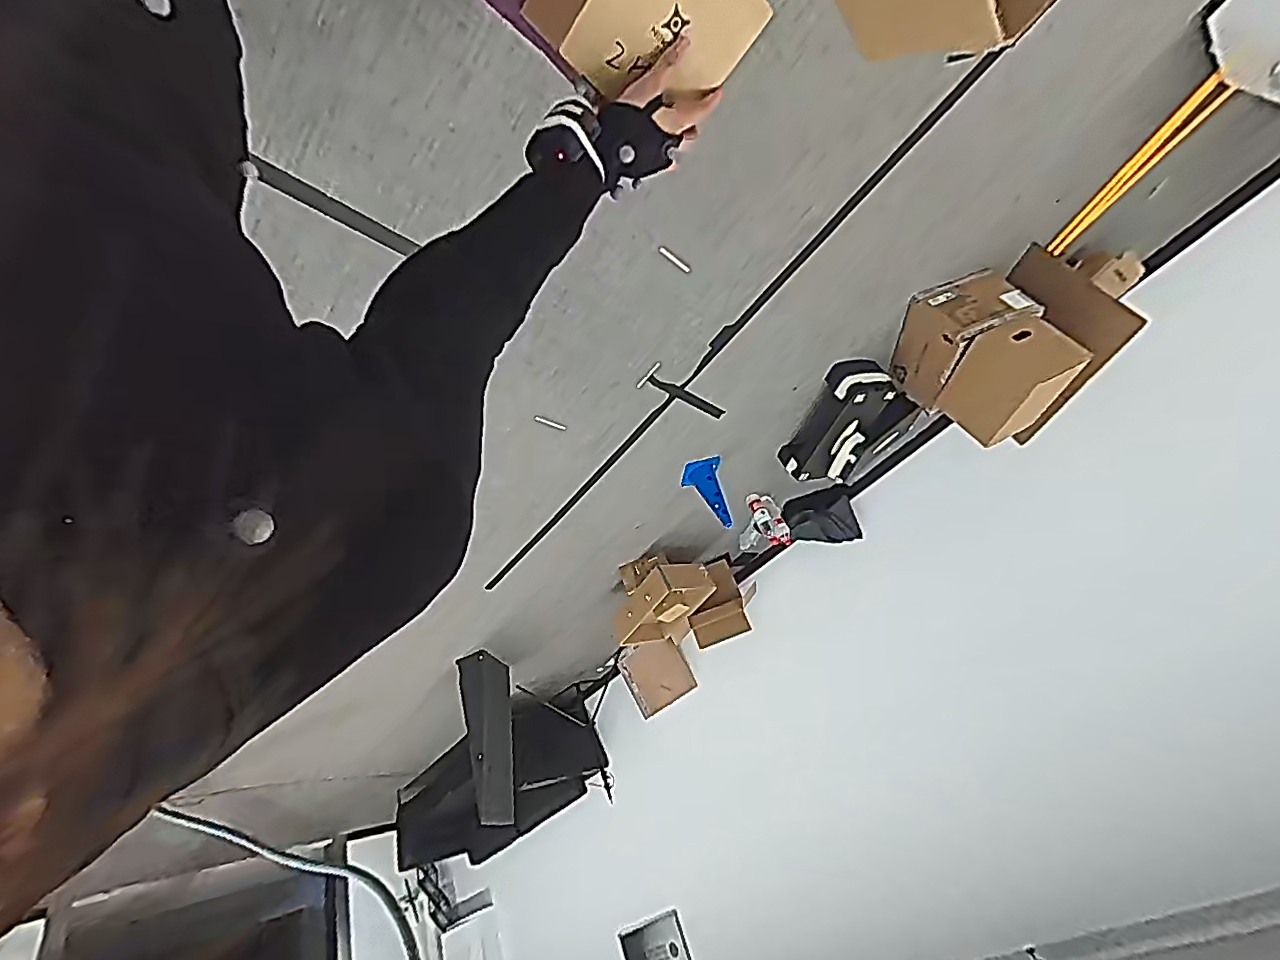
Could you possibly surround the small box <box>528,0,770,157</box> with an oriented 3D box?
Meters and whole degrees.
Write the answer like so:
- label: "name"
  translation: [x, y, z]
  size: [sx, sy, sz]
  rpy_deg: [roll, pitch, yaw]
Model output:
- label: "small box"
  translation: [0.000, -0.510, 0.588]
  size: [0.168, 0.176, 0.179]
  rpy_deg: [19, 126, -44]
